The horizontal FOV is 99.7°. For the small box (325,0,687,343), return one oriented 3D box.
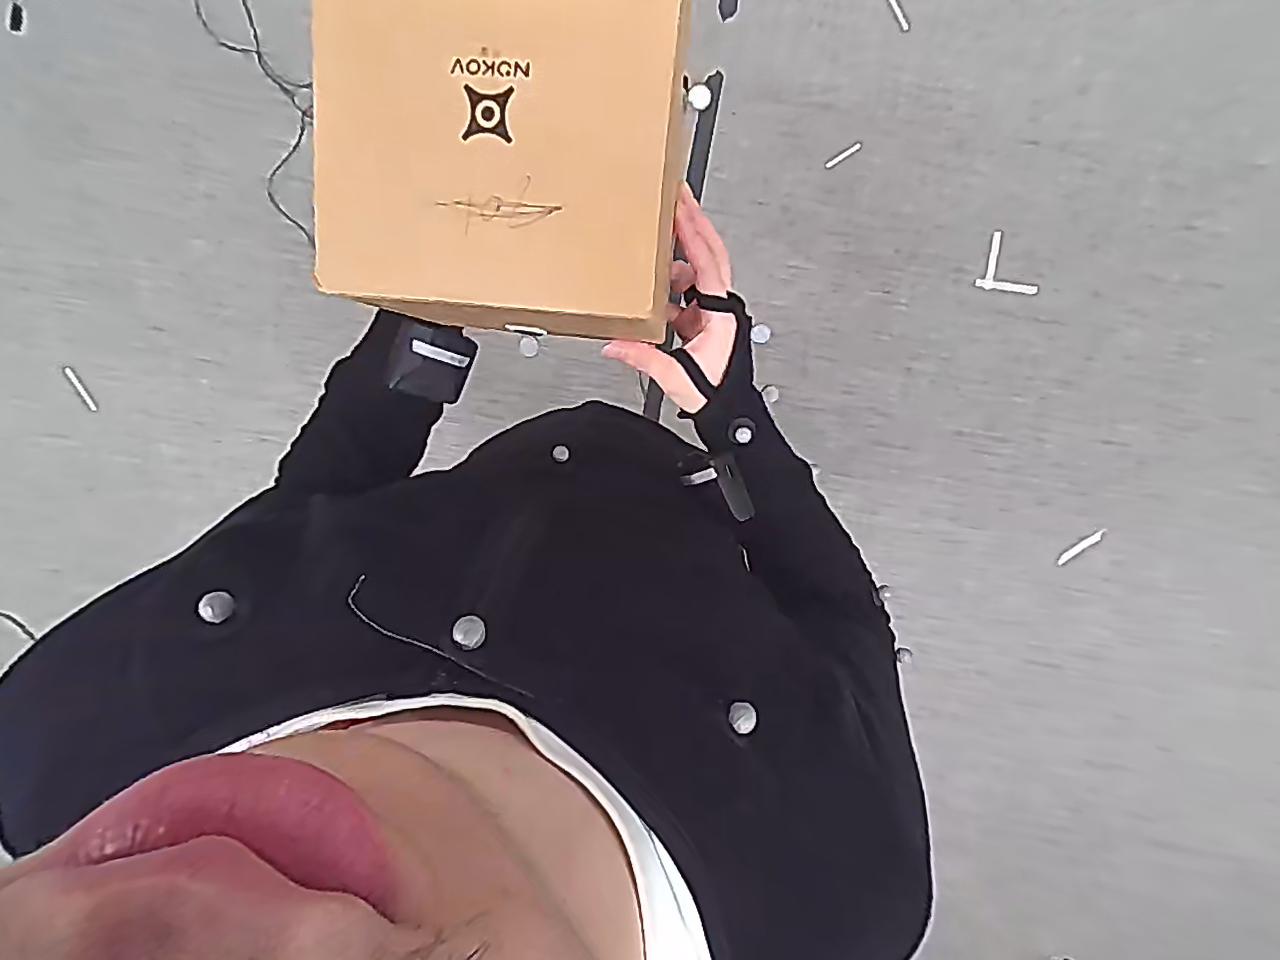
[{"bbox_3d":[-0.061,-0.186,0.331,0.168,0.176,0.179,6,101,4],"label":"small box"}]
